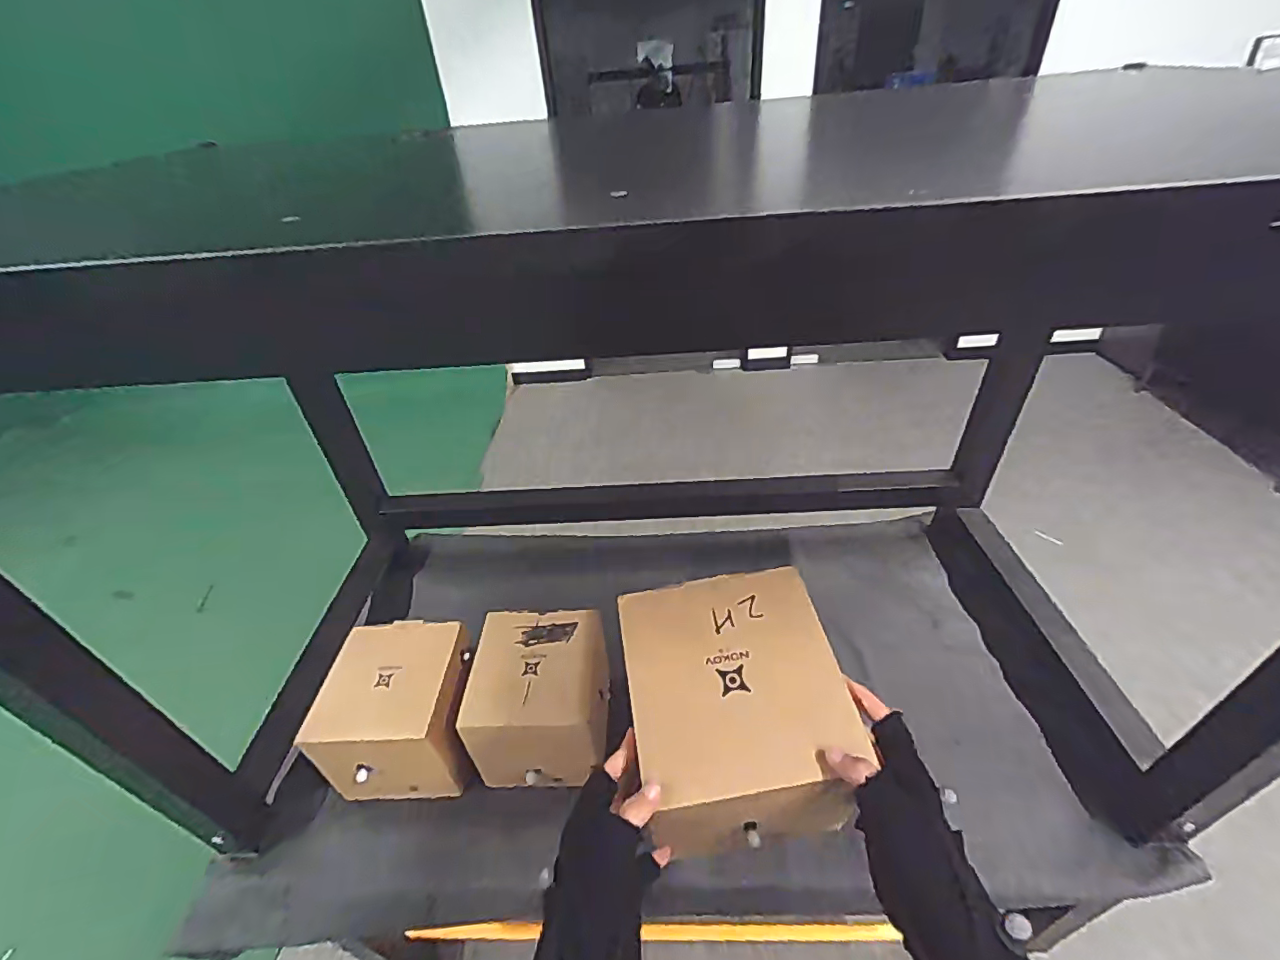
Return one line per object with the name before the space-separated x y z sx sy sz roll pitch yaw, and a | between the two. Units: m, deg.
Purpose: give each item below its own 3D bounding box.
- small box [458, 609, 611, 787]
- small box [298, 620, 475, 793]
small box | -0.134 0.305 0.765 0.168 0.176 0.179 -3 38 4
small box | -0.330 0.323 0.766 0.168 0.176 0.179 -3 37 2
